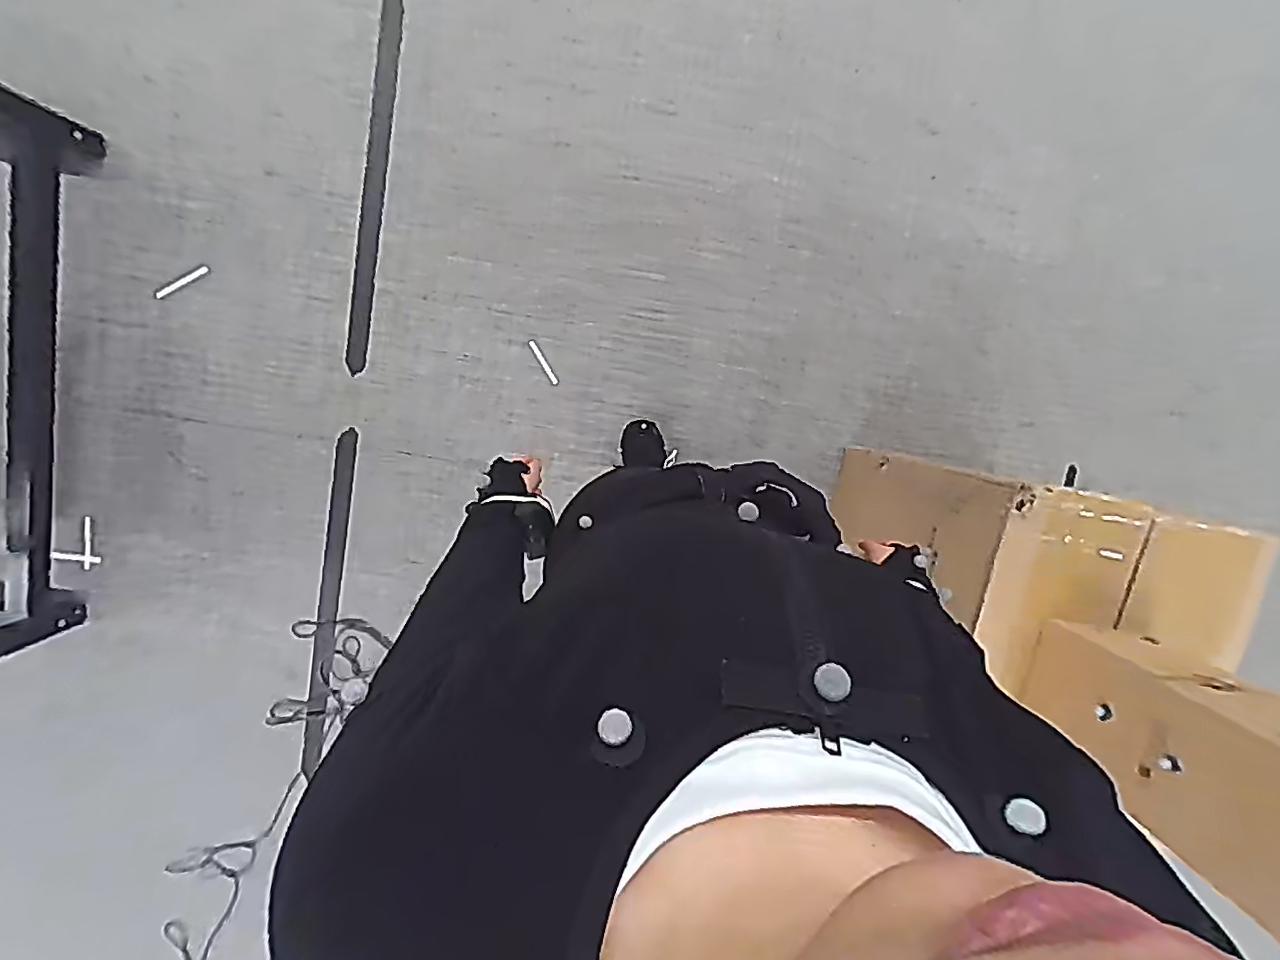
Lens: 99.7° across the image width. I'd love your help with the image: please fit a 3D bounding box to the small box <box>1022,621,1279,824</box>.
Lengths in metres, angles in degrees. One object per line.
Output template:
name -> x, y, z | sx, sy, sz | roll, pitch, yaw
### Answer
small box -> 0.658, 0.309, 0.721 | 0.168, 0.176, 0.179 | 11, 99, -2
